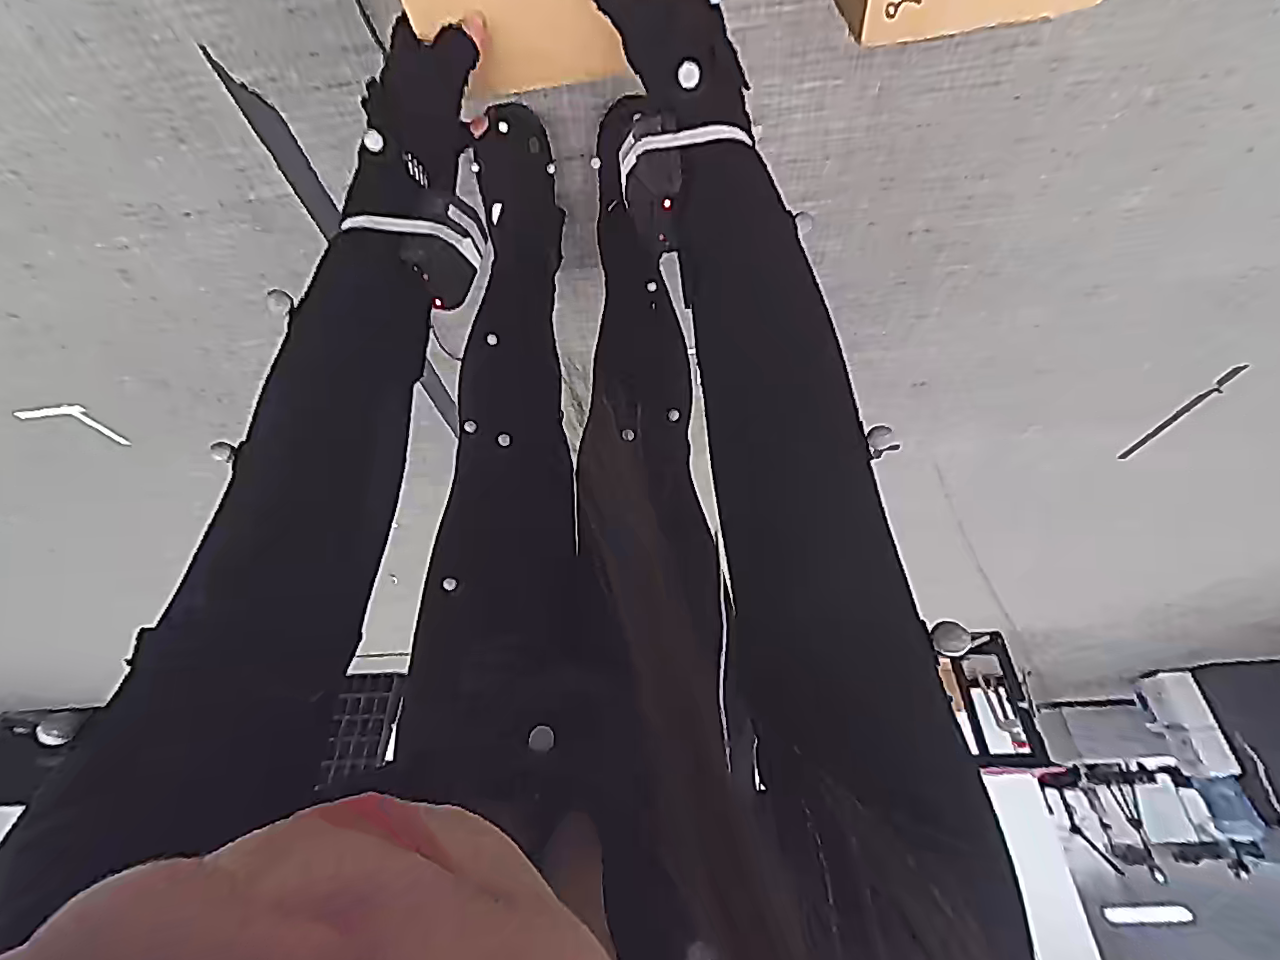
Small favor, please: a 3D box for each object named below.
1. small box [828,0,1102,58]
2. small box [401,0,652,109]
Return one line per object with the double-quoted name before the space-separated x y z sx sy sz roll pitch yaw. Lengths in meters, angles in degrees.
"small box" 0.236 -0.441 0.378 0.179 0.176 0.168 -6 149 5
"small box" -0.086 -0.418 0.404 0.179 0.176 0.168 -5 149 5
